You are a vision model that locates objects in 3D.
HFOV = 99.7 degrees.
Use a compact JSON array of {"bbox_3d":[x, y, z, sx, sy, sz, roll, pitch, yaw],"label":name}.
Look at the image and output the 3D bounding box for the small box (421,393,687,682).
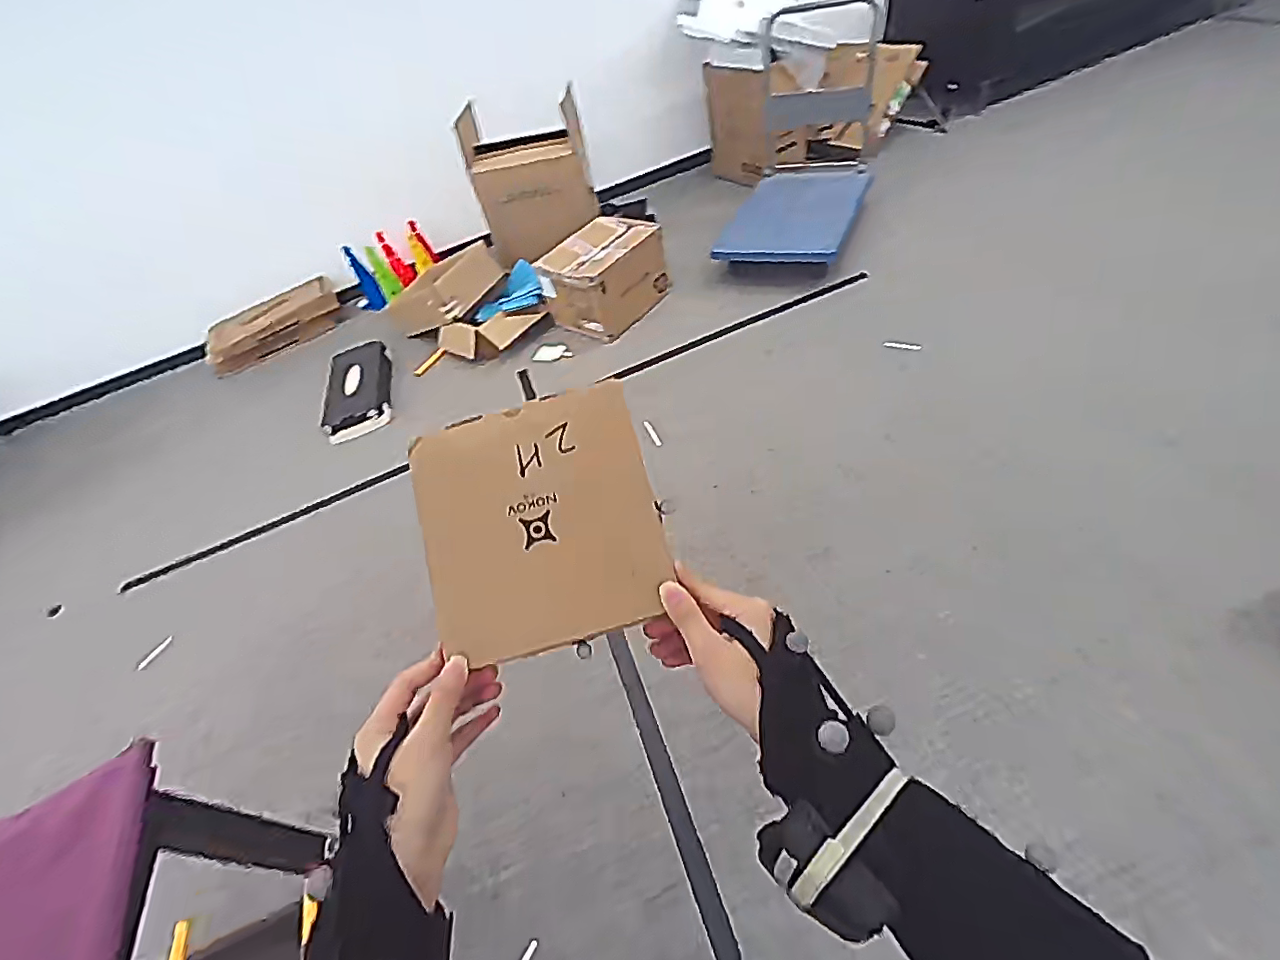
[{"bbox_3d":[-0.059,0.054,0.460,0.168,0.176,0.179,-16,75,0],"label":"small box"}]
